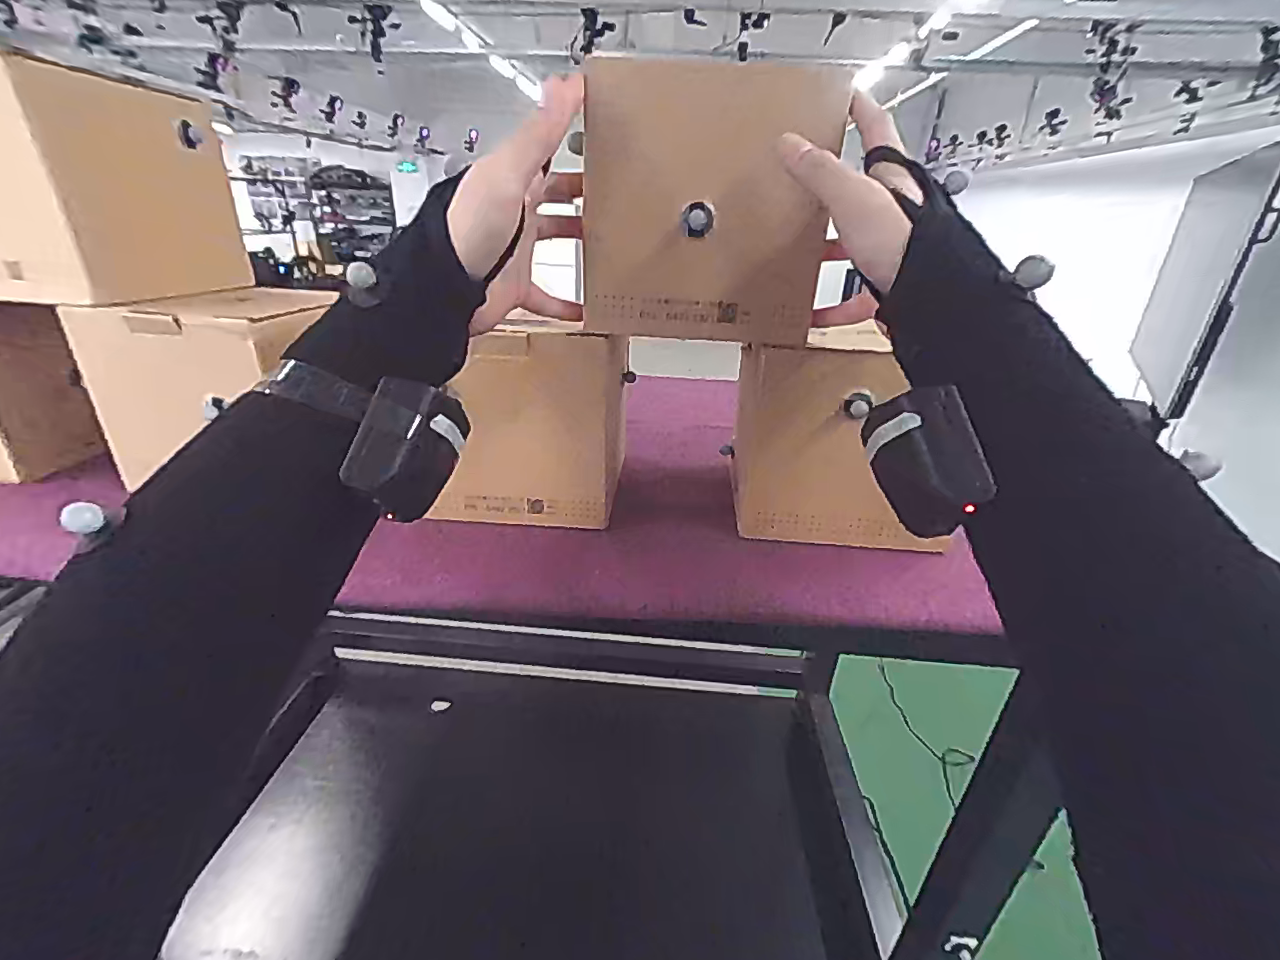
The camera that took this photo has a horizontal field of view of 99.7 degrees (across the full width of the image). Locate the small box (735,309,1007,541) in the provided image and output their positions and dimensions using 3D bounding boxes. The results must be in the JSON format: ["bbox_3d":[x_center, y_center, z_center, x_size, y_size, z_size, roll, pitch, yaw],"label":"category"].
[{"bbox_3d":[0.182,-0.058,0.494,0.179,0.176,0.168,4,26,4],"label":"small box"}]

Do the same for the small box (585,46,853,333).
[{"bbox_3d":[0.050,-0.219,0.434,0.168,0.176,0.179,4,25,1],"label":"small box"}]

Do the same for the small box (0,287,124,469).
[{"bbox_3d":[-0.640,-0.119,0.535,0.179,0.176,0.168,4,25,0],"label":"small box"}]

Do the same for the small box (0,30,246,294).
[{"bbox_3d":[-0.490,-0.258,0.468,0.168,0.176,0.179,4,24,3],"label":"small box"}]

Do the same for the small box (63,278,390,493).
[{"bbox_3d":[-0.368,-0.099,0.526,0.168,0.176,0.179,6,25,5],"label":"small box"}]
